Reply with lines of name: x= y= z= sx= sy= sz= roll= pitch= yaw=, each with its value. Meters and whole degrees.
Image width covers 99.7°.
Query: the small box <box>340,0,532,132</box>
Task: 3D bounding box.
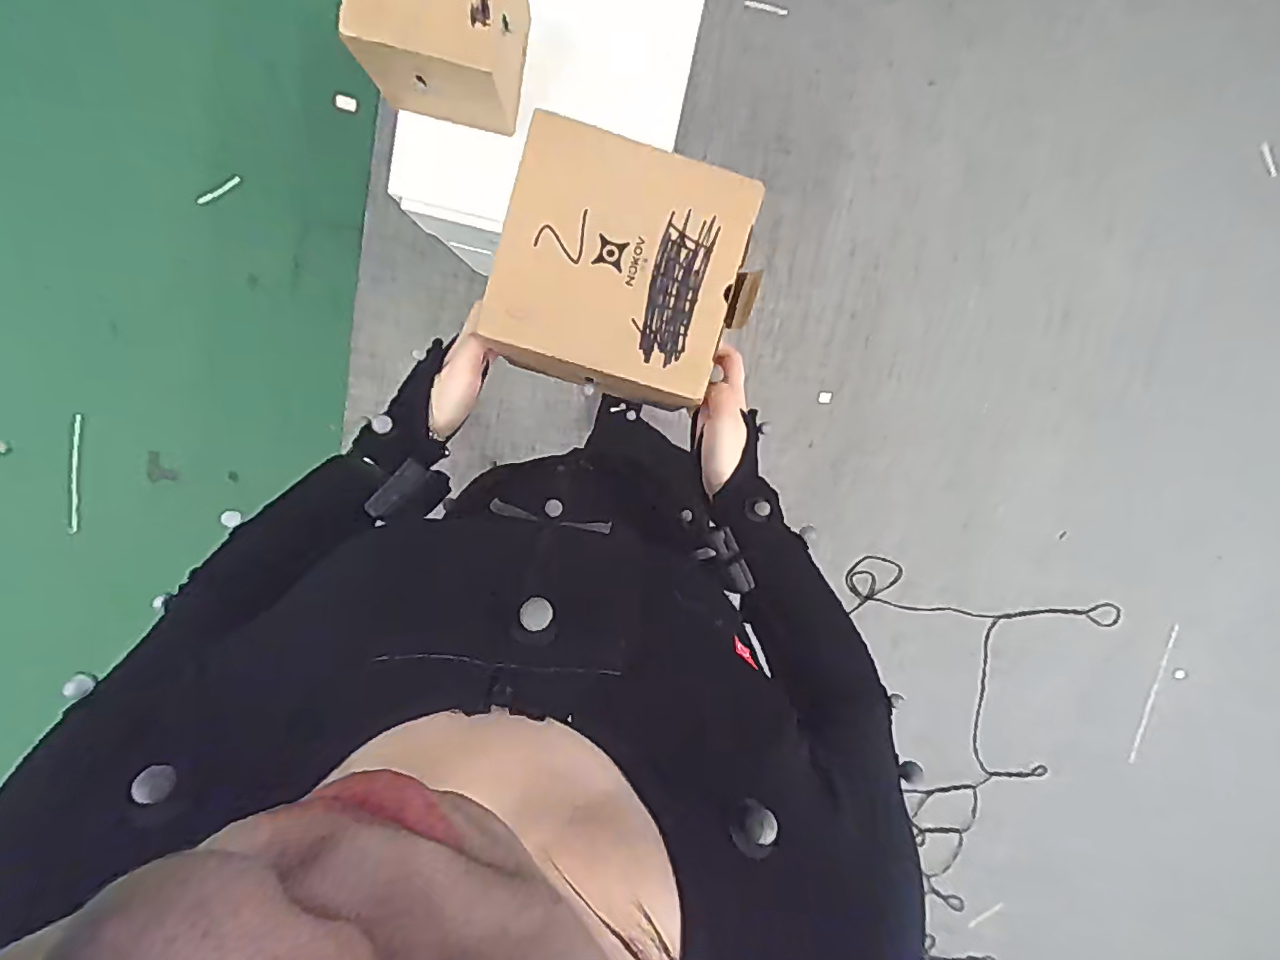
small box: x=-0.245 y=-0.577 z=0.685 sx=0.179 sy=0.176 sz=0.168 roll=10 pitch=100 yaw=-6
